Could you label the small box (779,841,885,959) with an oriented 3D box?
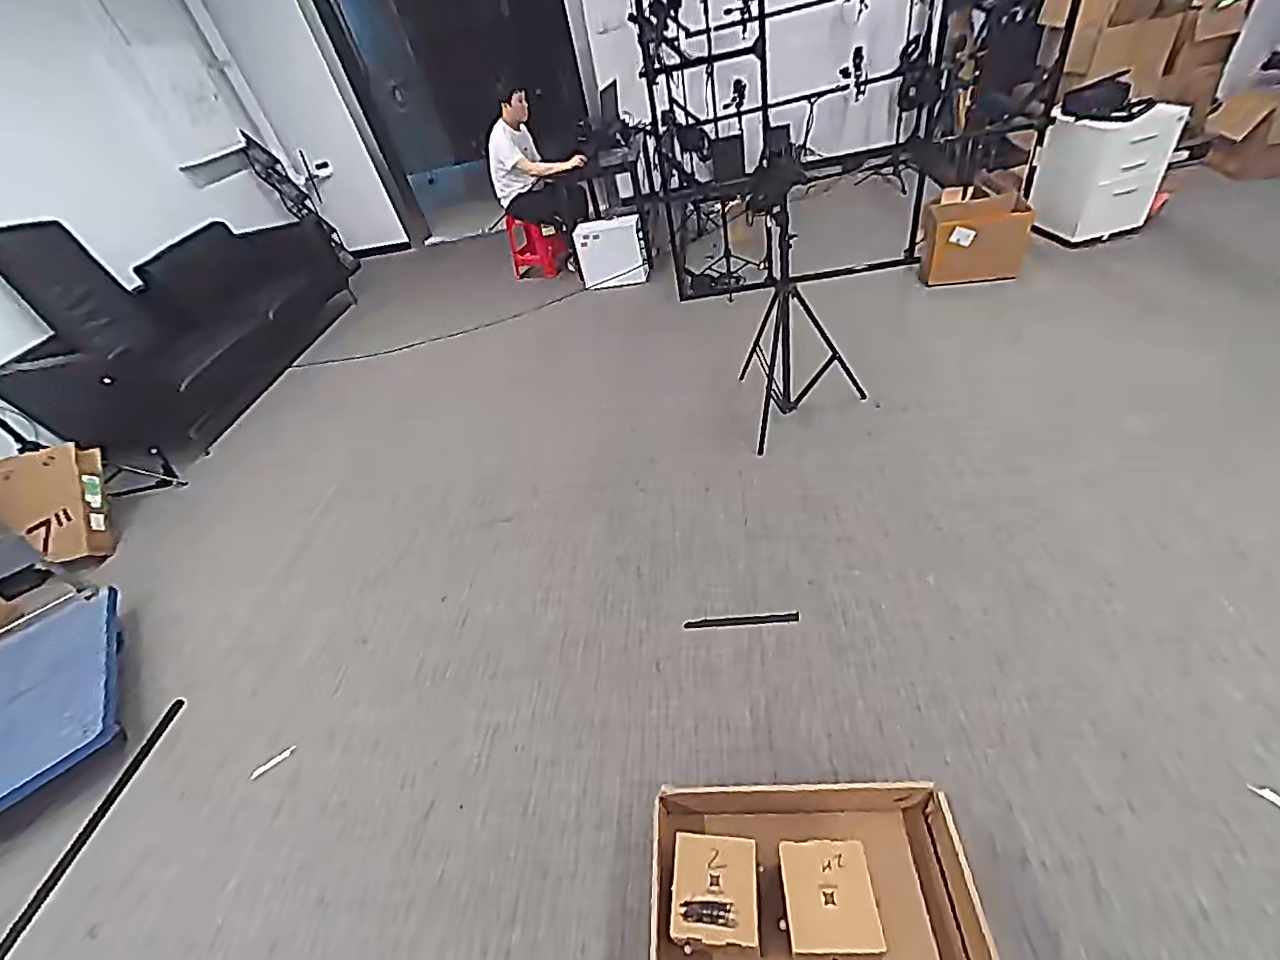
[{"bbox_3d":[0.376,0.846,1.080,0.168,0.176,0.179,-7,42,9],"label":"small box"}]
